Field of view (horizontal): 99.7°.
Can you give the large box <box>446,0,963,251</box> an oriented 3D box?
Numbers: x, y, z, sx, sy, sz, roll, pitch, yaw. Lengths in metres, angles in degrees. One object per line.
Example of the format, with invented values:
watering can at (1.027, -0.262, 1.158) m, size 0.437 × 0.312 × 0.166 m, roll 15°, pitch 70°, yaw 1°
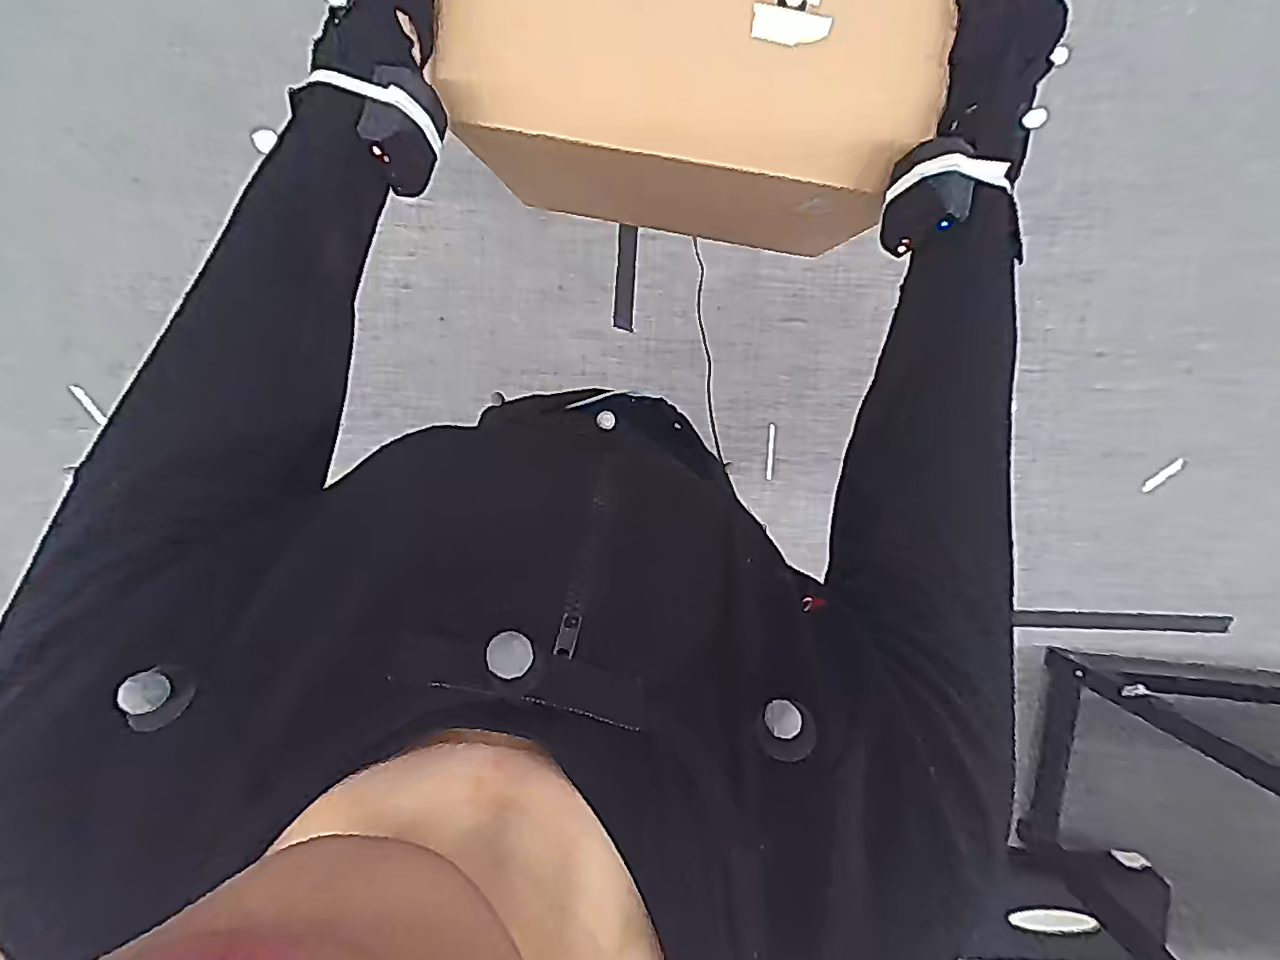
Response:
large box at (0.058, -0.448, 0.554) m, size 0.408 × 0.320 × 0.320 m, roll 9°, pitch 105°, yaw -1°
